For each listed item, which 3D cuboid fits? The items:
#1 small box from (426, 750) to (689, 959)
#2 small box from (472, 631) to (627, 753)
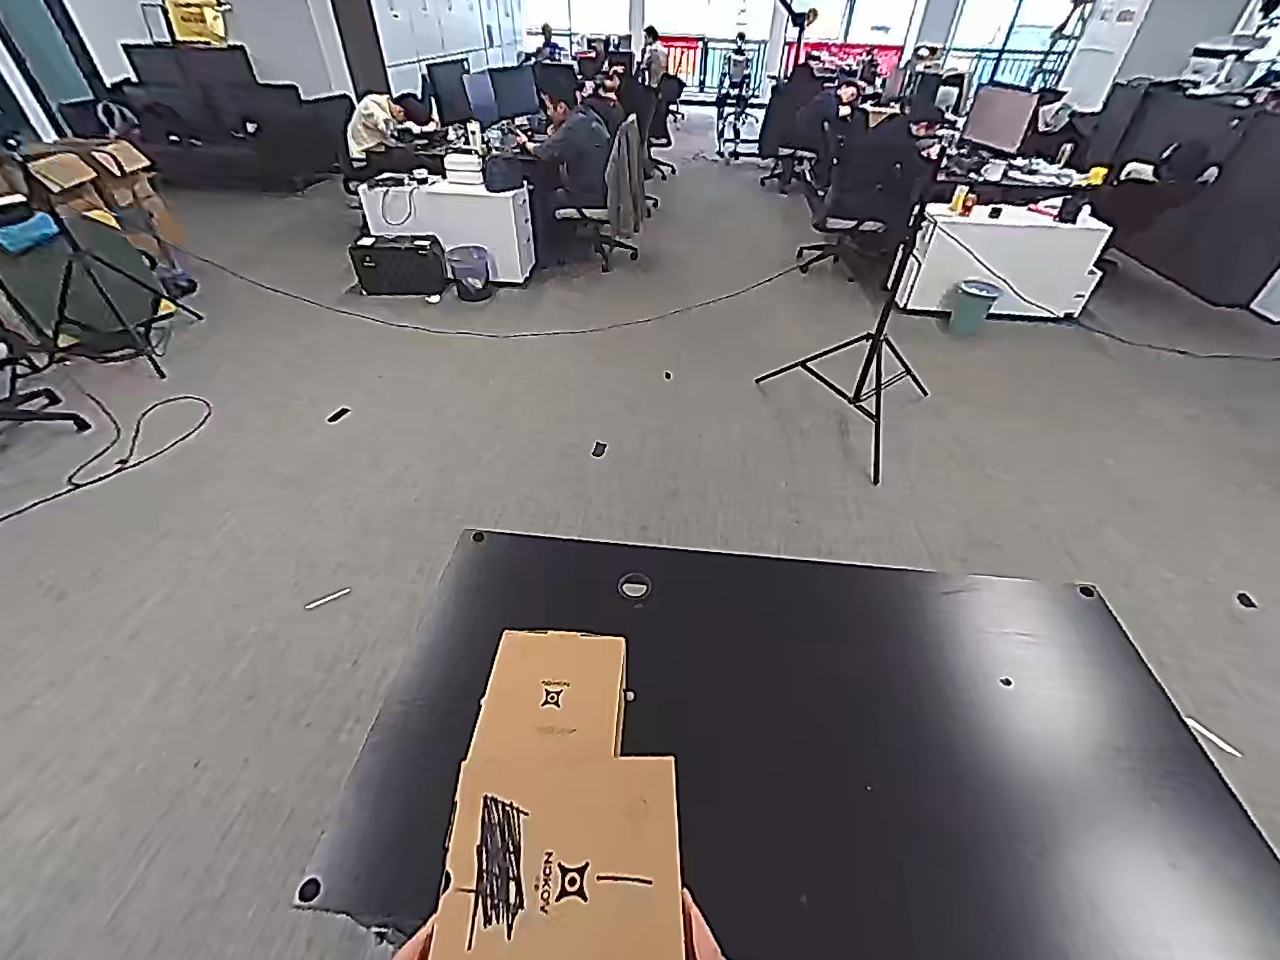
[{"bbox_3d":[-0.056,0.338,0.446,0.179,0.176,0.168,1,46,-2],"label":"small box"},{"bbox_3d":[-0.105,0.324,0.711,0.168,0.176,0.179,2,42,2],"label":"small box"}]
